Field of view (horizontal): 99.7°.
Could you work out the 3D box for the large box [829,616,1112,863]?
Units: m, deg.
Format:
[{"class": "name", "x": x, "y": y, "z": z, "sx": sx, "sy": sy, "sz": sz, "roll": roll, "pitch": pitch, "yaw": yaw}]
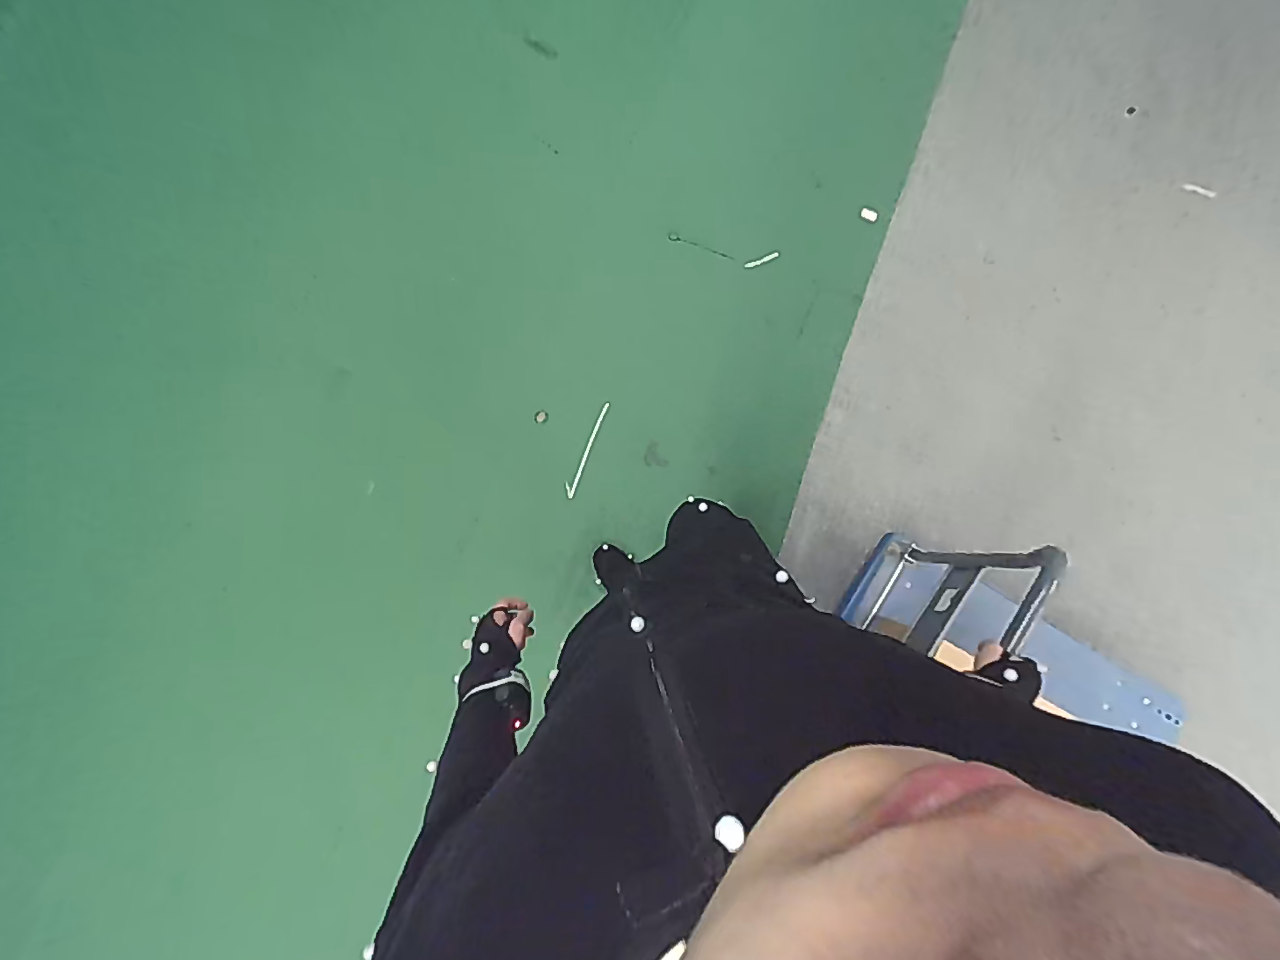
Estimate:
[{"class": "large box", "x": 0.732, "y": 0.566, "z": 1.265, "sx": 0.408, "sy": 0.320, "sz": 0.320, "roll": 31, "pitch": 86, "yaw": 4}]
